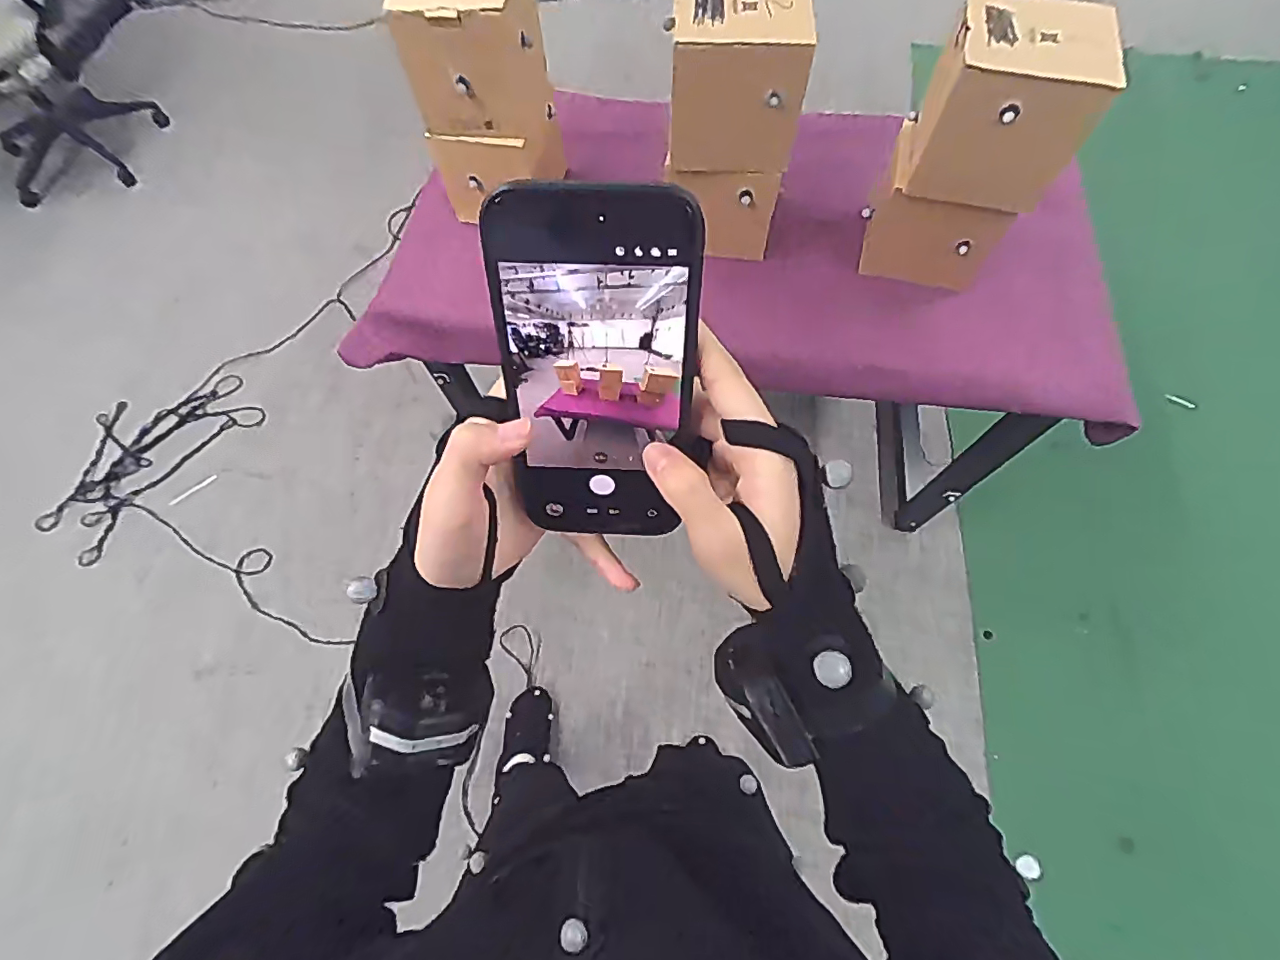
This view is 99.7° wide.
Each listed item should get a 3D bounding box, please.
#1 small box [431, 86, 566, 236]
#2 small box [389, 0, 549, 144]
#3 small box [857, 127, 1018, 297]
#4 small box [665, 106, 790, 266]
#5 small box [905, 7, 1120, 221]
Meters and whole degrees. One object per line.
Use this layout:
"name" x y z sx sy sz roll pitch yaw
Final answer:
"small box" -0.238 -0.566 0.963 0.168 0.176 0.179 9 66 6
"small box" -0.242 -0.641 0.817 0.168 0.176 0.179 5 67 4
"small box" 0.473 -0.422 0.870 0.179 0.176 0.168 15 67 9
"small box" 0.142 -0.487 0.911 0.179 0.176 0.168 9 66 6
"small box" 0.473 -0.474 0.714 0.179 0.176 0.168 15 67 8
